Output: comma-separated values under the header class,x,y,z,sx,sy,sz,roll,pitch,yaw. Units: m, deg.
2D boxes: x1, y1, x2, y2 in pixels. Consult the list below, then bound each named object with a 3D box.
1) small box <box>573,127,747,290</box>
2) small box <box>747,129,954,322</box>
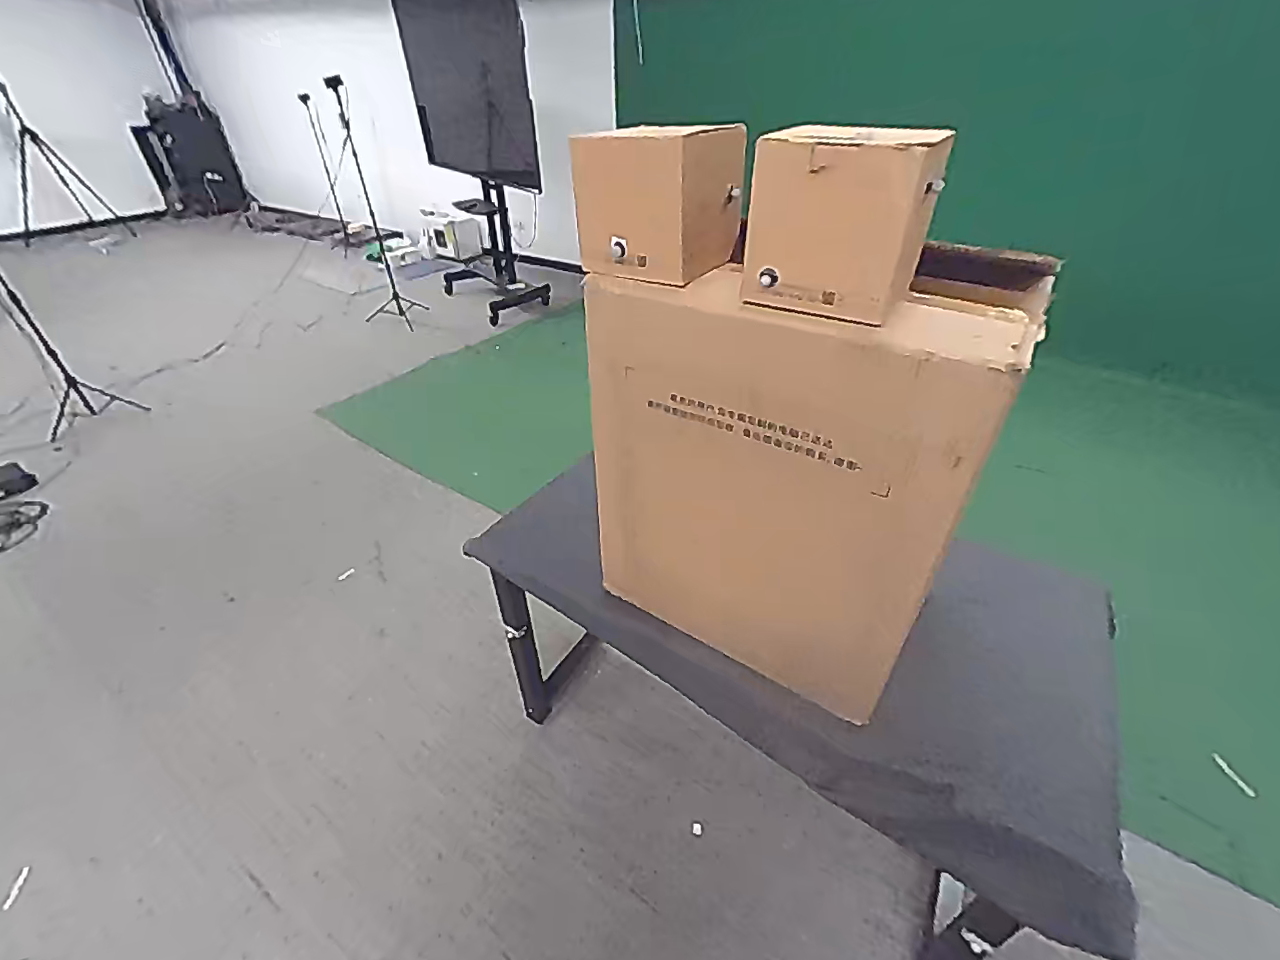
class,x,y,z,sx,sy,sz,roll,pitch,yaw
small box,0.031,-0.375,0.739,0.168,0.176,0.179,18,42,28
small box,0.232,-0.295,0.618,0.168,0.176,0.179,21,42,26
